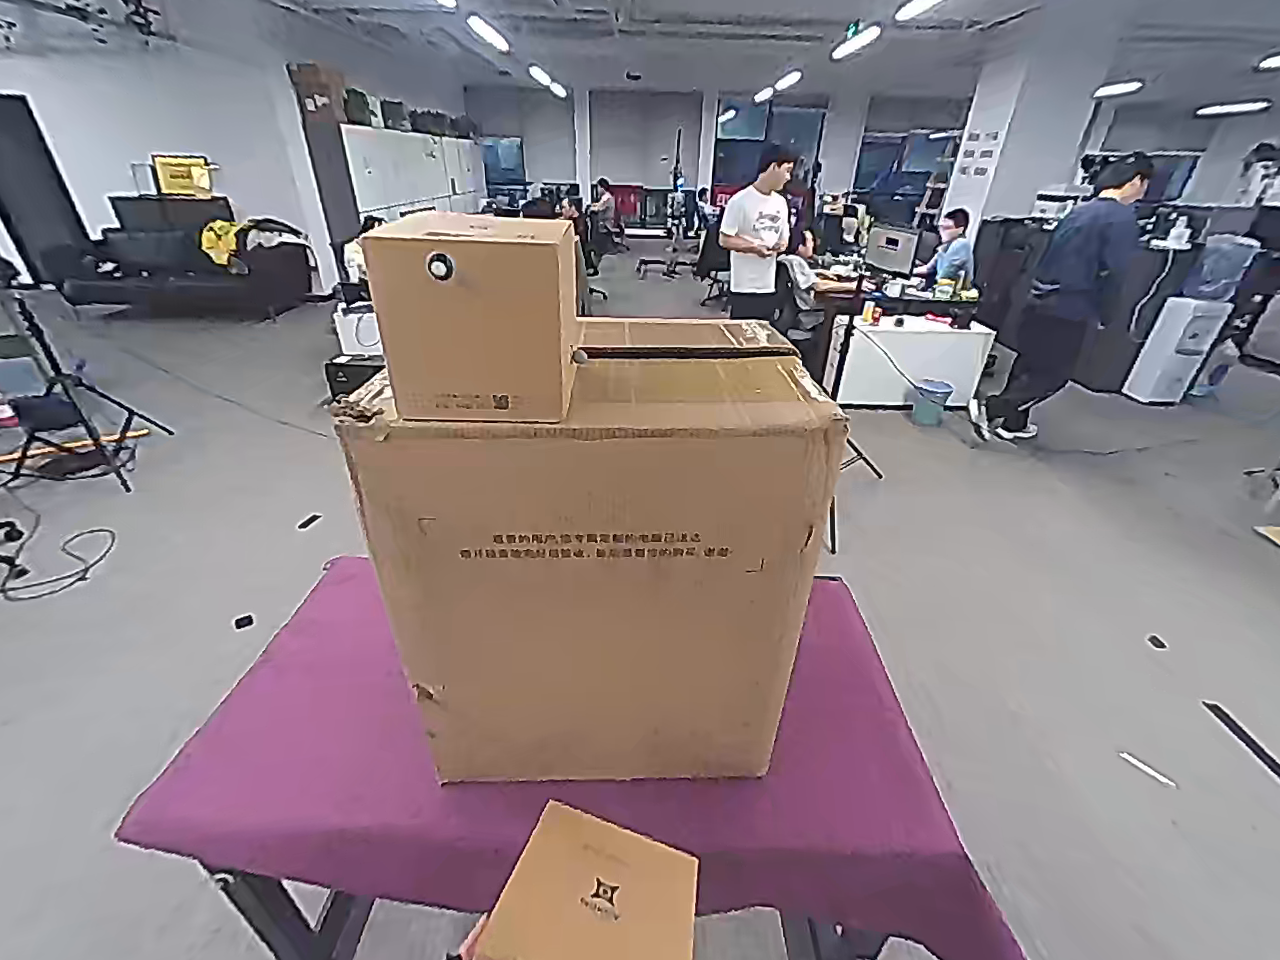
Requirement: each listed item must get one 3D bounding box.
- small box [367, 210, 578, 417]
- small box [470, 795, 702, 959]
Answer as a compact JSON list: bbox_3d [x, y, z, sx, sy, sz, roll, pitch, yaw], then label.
[{"bbox_3d":[-0.152,-0.177,0.559,0.168,0.176,0.179,1,30,-3],"label":"small box"},{"bbox_3d":[-0.051,0.431,0.473,0.168,0.176,0.179,17,4,7],"label":"small box"}]
